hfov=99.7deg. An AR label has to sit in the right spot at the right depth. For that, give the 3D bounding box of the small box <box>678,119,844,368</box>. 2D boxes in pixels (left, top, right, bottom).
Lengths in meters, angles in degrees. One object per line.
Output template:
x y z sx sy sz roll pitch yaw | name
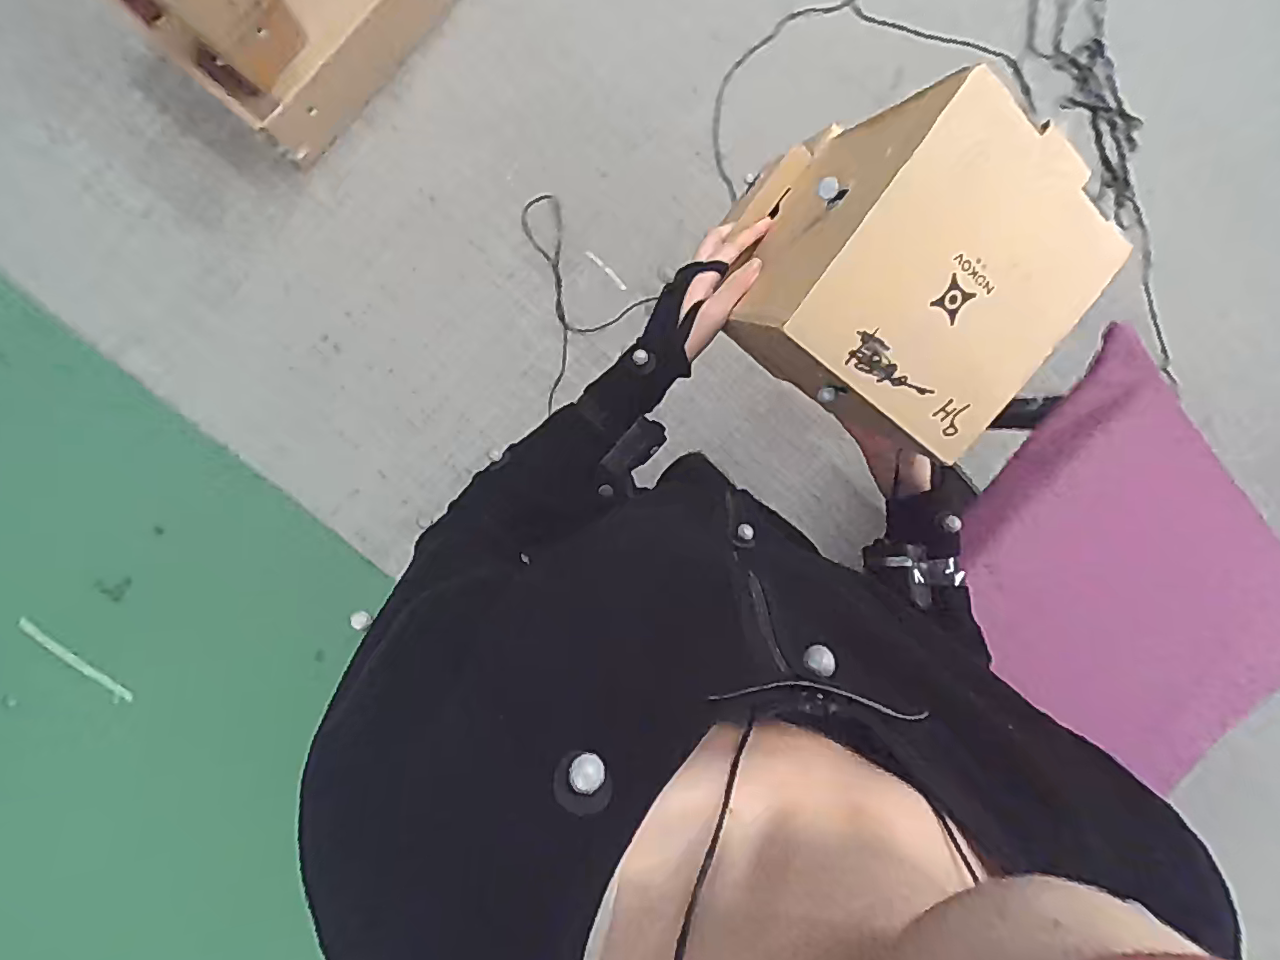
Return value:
0.163 -0.217 0.560 0.179 0.176 0.168 34 101 -18 | small box

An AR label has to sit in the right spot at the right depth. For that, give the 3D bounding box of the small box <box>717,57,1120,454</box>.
0.183 -0.152 0.411 0.168 0.176 0.179 31 102 -17 | small box

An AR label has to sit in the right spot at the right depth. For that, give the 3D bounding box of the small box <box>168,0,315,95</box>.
-0.846 -0.991 1.164 0.168 0.176 0.179 38 88 -11 | small box
